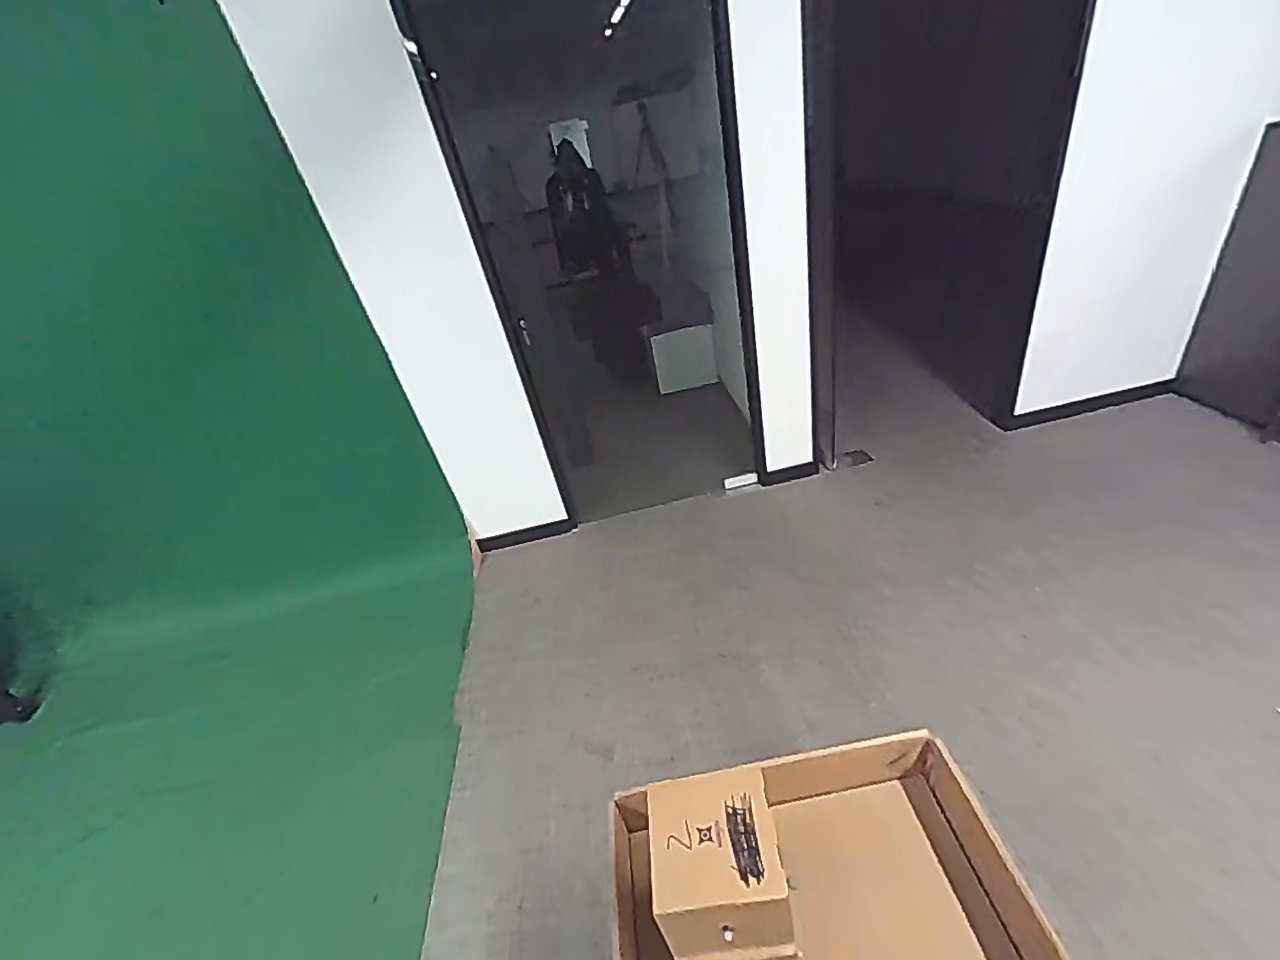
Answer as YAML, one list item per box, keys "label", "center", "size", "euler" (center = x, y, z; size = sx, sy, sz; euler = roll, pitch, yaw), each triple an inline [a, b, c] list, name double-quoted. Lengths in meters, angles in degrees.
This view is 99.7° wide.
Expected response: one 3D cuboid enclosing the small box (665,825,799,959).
- label: "small box"
  center: [0.145, 0.687, 0.863]
  size: [0.179, 0.176, 0.168]
  euler: [-12, 33, 3]
